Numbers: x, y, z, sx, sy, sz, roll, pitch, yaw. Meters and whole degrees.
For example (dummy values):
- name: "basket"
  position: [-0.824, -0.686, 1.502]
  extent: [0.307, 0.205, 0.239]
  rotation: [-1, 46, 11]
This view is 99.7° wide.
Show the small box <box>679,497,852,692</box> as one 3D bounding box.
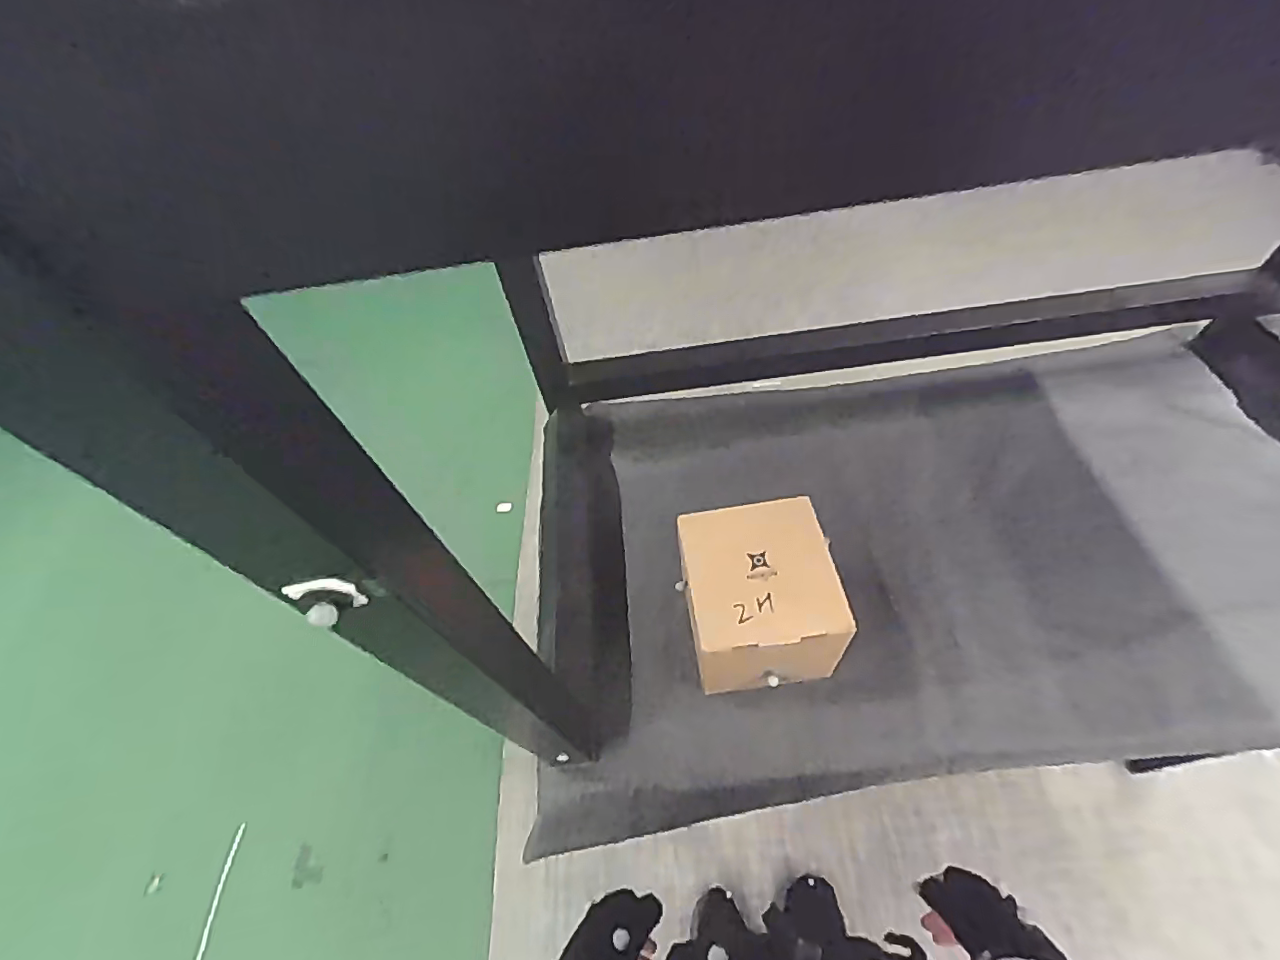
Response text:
- name: "small box"
  position: [0.144, 0.148, 0.684]
  extent: [0.168, 0.176, 0.179]
  rotation: [-9, 53, 2]
